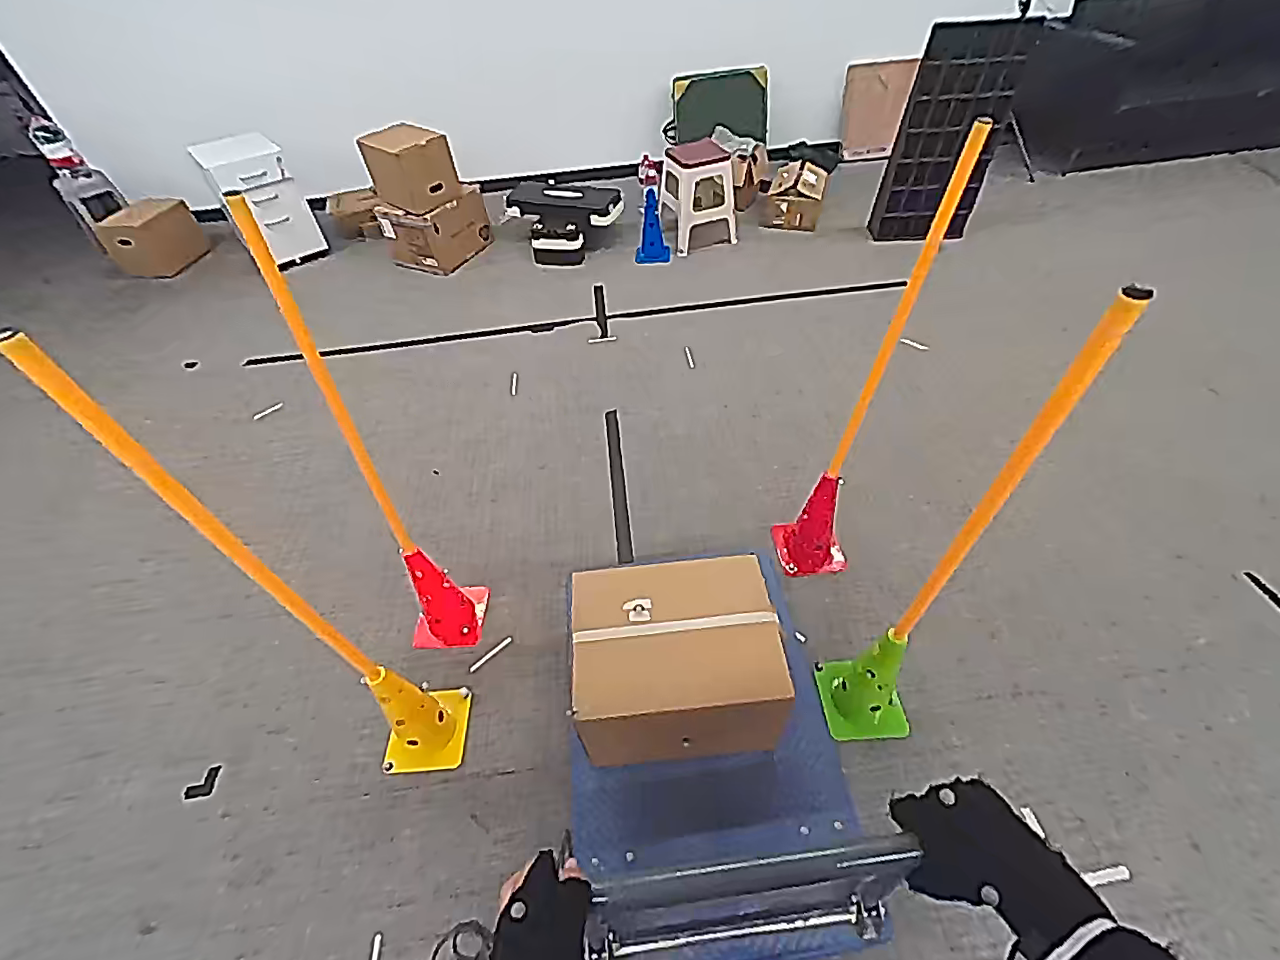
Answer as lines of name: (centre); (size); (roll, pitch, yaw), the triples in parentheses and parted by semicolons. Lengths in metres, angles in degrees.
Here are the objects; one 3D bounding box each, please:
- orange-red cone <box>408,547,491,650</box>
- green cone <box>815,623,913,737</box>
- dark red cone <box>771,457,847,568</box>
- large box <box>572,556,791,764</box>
orange-red cone: (-0.577, 0.307, 1.528); (0.198, 0.360, 0.199); (-1, 46, 3)
green cone: (0.569, 0.451, 1.292); (0.202, 0.368, 0.200); (-4, 47, 0)
dark red cone: (0.532, 0.083, 1.607); (0.201, 0.394, 0.202); (-6, 48, -3)
large box: (0.077, 0.400, 1.187); (0.408, 0.320, 0.320); (-7, 48, 0)
